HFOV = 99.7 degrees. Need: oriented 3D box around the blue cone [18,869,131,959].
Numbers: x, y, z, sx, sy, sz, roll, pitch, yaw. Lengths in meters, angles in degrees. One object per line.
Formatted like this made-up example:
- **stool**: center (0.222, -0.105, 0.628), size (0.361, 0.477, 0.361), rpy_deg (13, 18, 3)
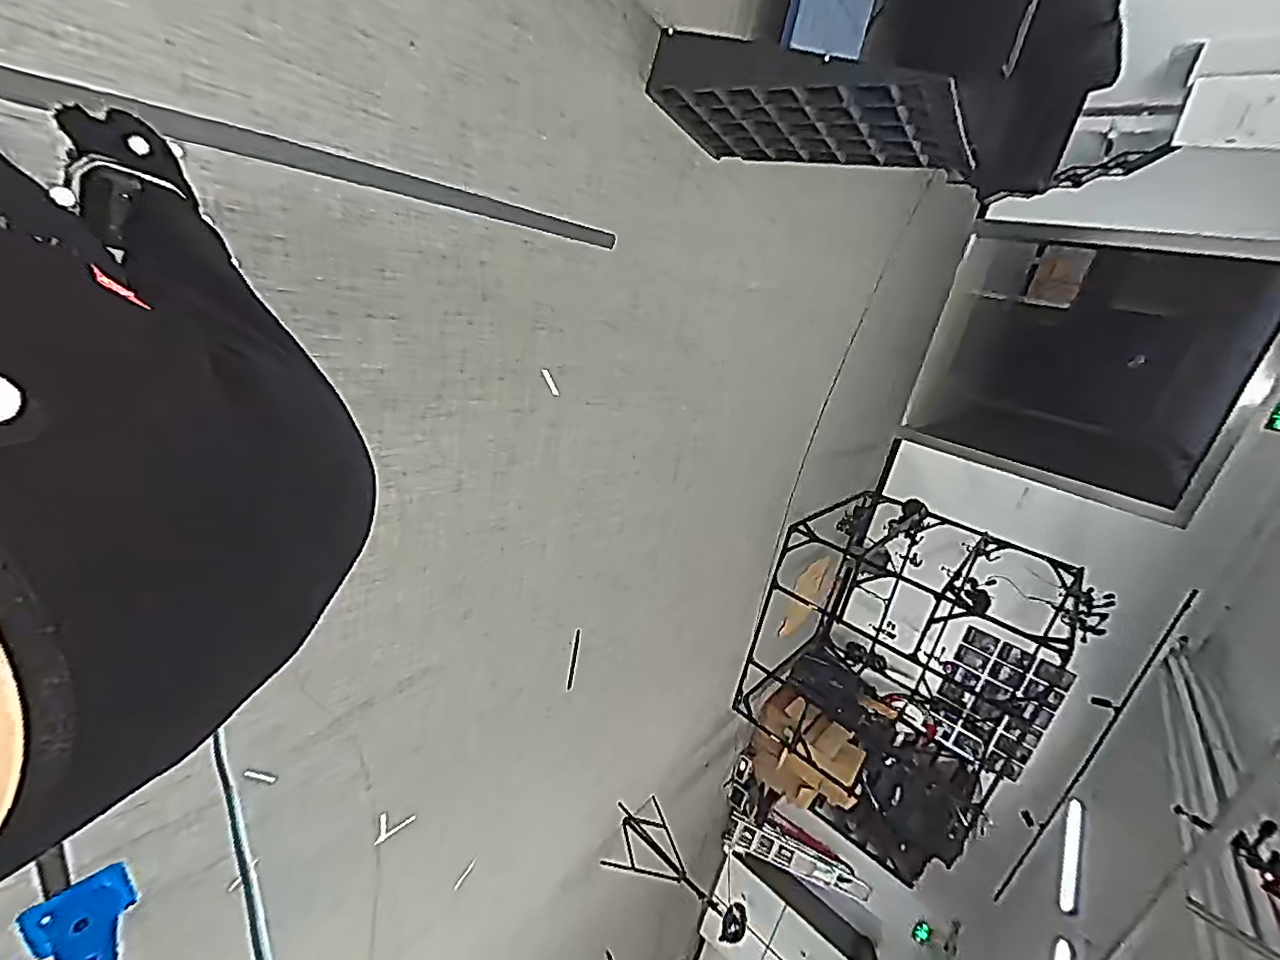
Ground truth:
- **blue cone**: center (-1.363, 1.203, 1.337), size (0.192, 0.380, 0.193), rpy_deg (-18, 126, -48)
